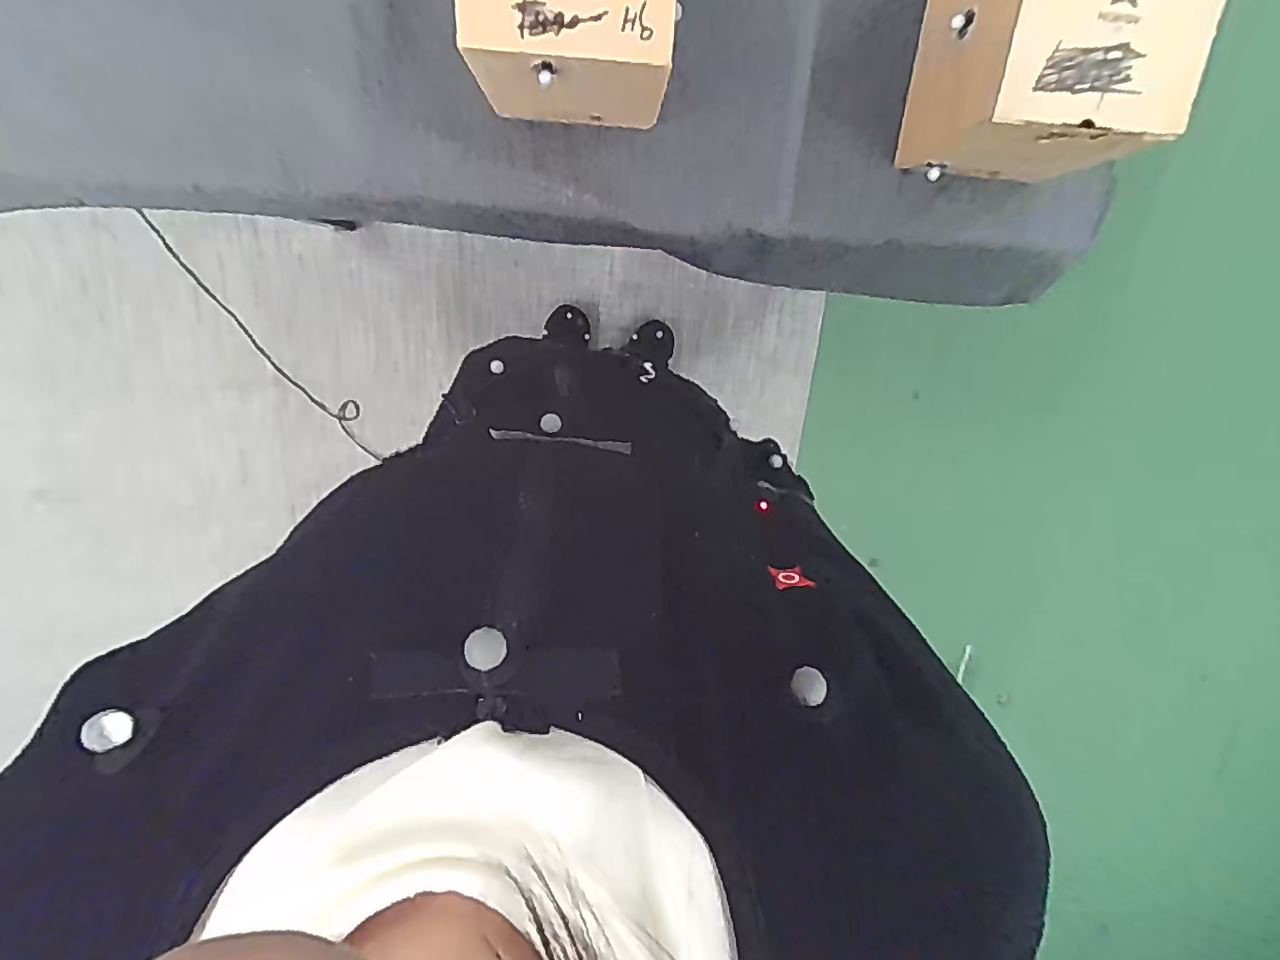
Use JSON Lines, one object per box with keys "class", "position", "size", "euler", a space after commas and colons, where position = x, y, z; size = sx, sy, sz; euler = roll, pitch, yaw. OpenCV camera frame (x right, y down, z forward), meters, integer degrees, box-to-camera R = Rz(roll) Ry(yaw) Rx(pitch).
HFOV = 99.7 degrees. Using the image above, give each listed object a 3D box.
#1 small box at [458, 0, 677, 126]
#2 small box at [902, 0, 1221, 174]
{"class": "small box", "position": [-0.055, -0.436, 0.463], "size": [0.168, 0.176, 0.179], "euler": [2, 108, -4]}
{"class": "small box", "position": [0.369, -0.400, 0.497], "size": [0.168, 0.176, 0.179], "euler": [4, 107, -4]}
